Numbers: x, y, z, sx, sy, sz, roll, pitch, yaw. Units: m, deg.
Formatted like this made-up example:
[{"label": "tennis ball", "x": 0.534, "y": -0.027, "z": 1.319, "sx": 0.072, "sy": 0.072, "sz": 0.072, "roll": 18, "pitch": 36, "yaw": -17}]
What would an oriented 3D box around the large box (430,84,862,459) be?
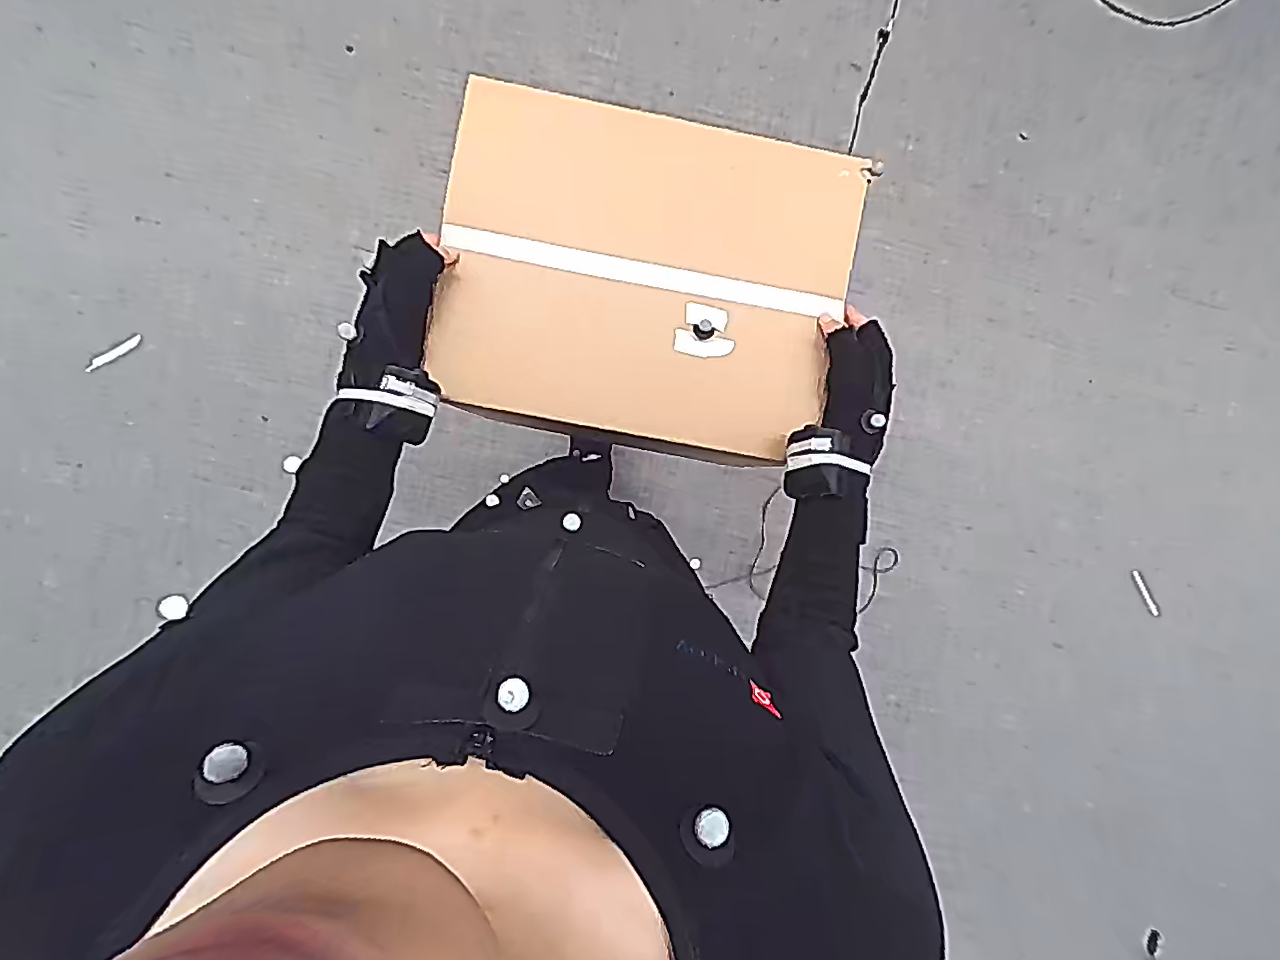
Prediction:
[{"label": "large box", "x": 0.000, "y": -0.212, "z": 0.691, "sx": 0.408, "sy": 0.320, "sz": 0.320, "roll": 10, "pitch": 91, "yaw": -3}]
